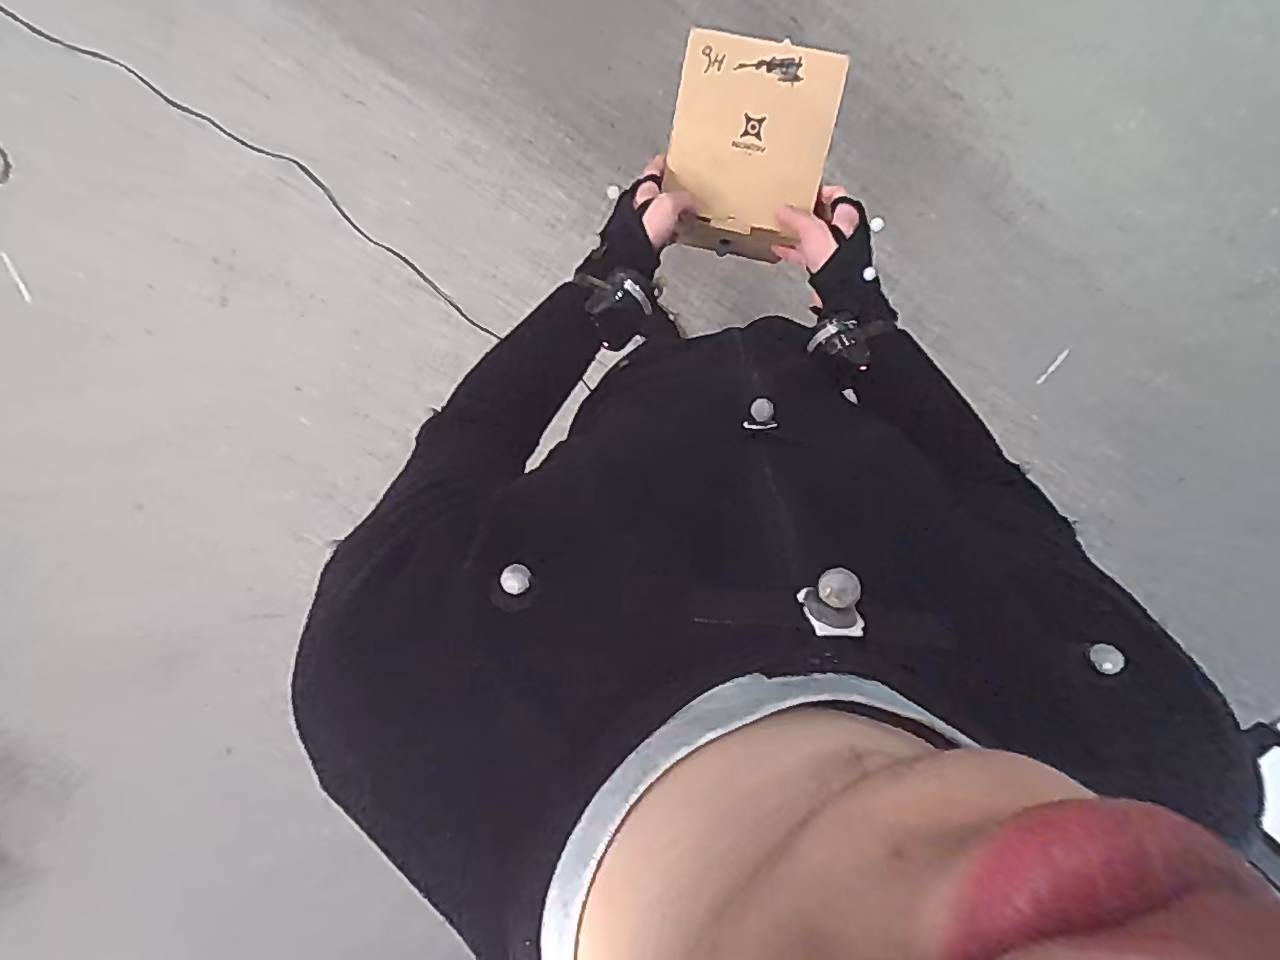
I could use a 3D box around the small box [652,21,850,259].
[{"bbox_3d":[0.115,-0.368,0.624,0.168,0.176,0.179,12,104,1],"label":"small box"}]
